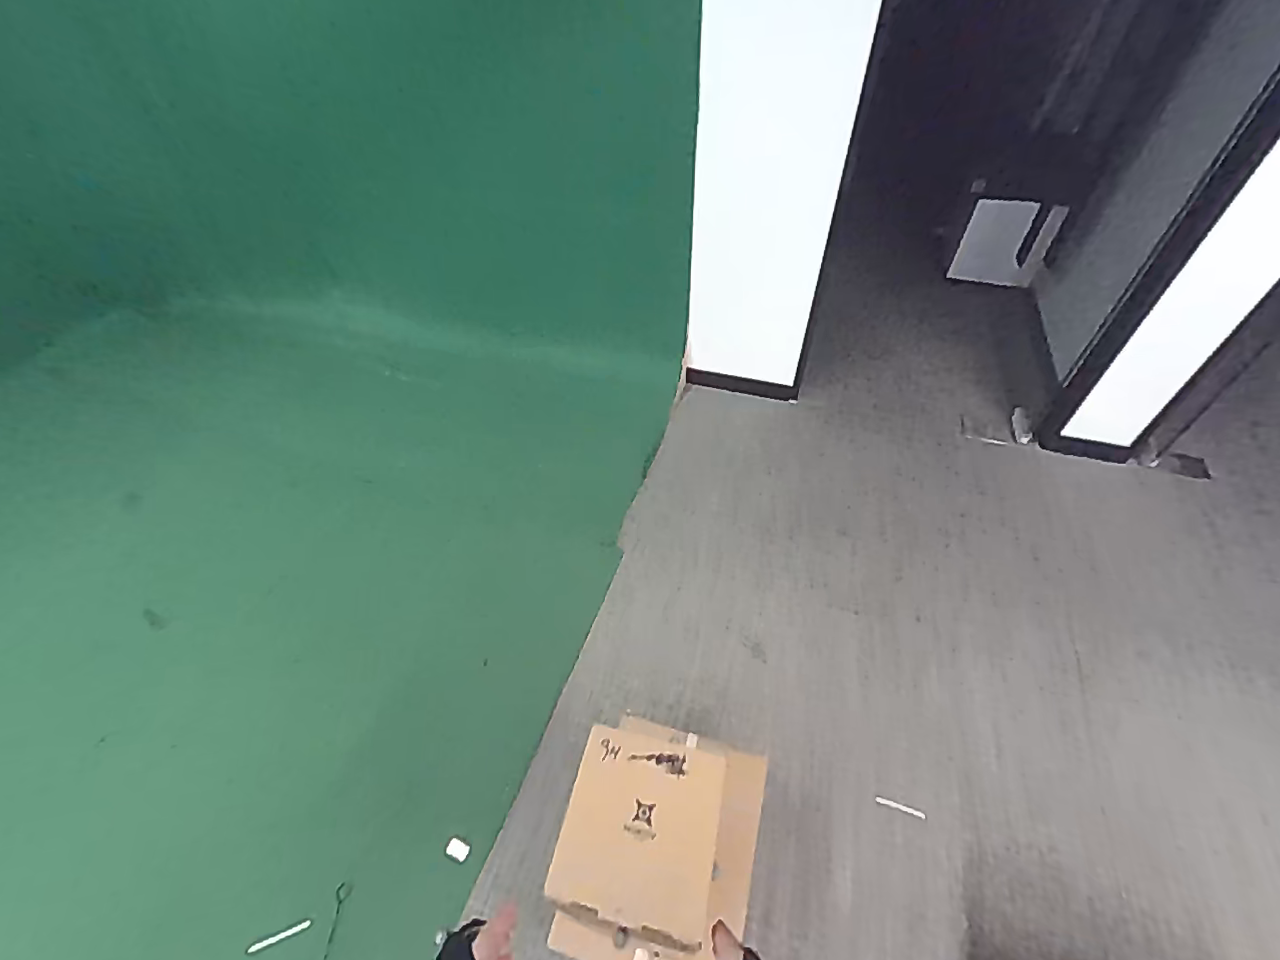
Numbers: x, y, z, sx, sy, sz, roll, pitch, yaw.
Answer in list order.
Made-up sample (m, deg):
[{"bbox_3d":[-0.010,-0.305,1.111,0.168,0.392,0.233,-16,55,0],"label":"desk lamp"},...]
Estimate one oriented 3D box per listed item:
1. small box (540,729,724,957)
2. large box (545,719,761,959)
[{"bbox_3d":[0.001,0.431,0.642,0.168,0.176,0.179,10,48,11],"label":"small box"},{"bbox_3d":[0.046,0.780,1.098,0.320,0.320,0.408,13,48,13],"label":"large box"}]
